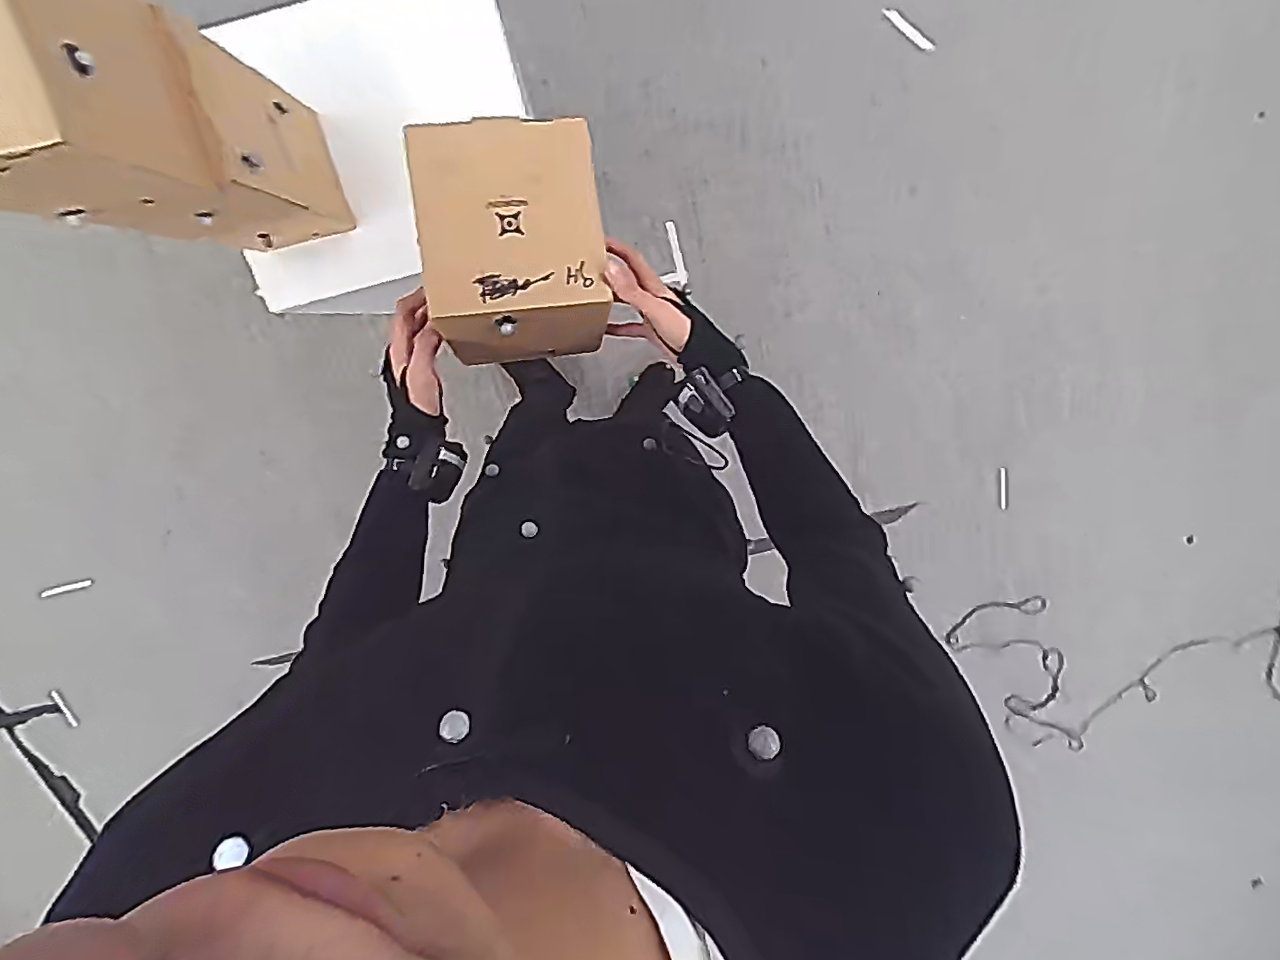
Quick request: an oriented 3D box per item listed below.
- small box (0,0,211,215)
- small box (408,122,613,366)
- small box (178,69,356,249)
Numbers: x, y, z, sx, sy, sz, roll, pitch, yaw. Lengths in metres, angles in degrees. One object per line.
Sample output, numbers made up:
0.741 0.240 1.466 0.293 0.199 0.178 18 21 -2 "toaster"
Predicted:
-0.535 -0.346 0.473 0.168 0.176 0.179 -11 106 -1 "small box"
-0.127 -0.232 0.564 0.168 0.176 0.179 -8 89 -8 "small box"
-0.550 -0.447 0.787 0.168 0.176 0.179 -14 107 0 "small box"
